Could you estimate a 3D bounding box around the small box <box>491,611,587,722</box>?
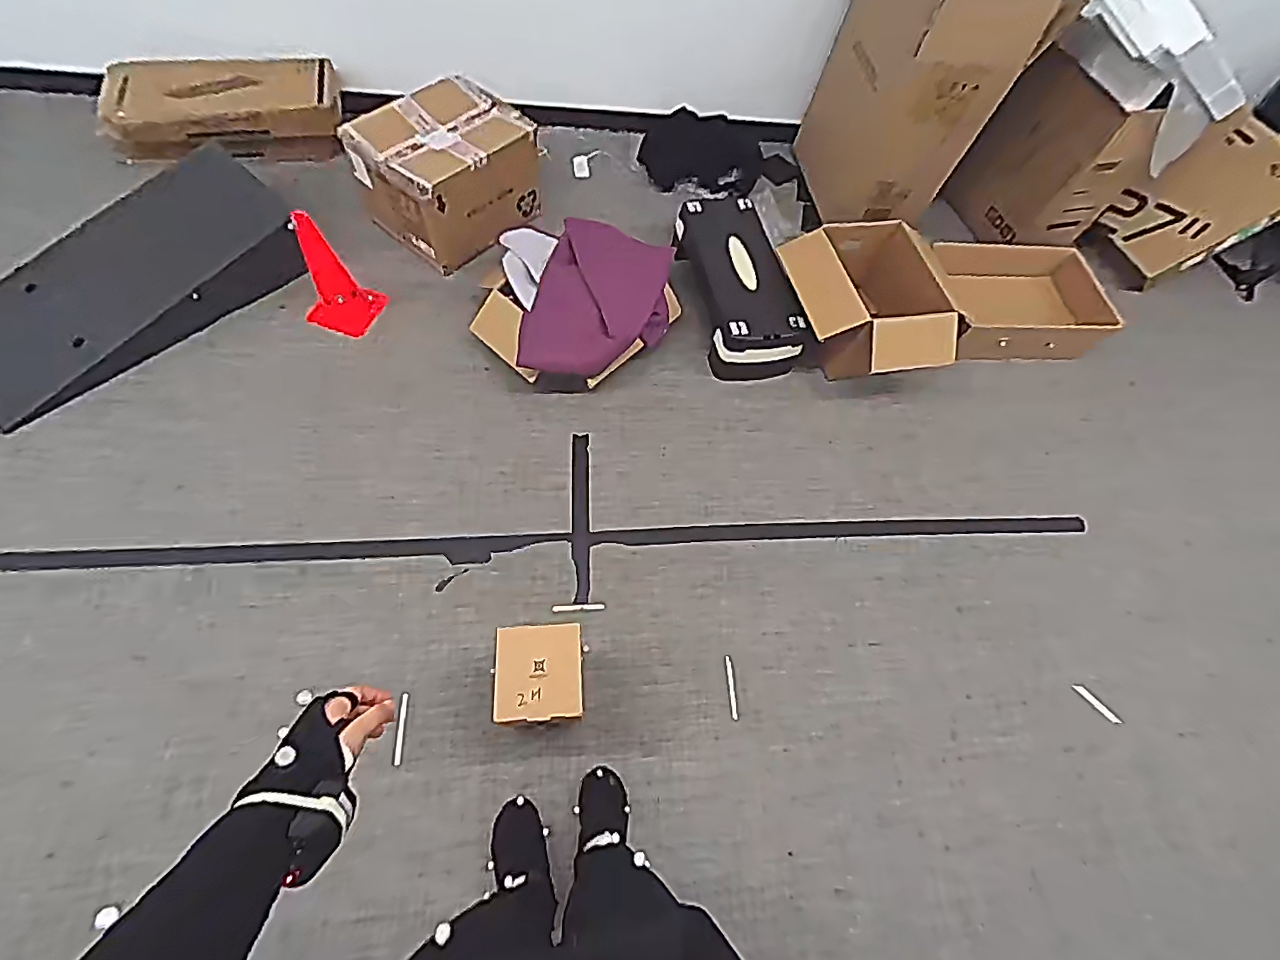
[{"bbox_3d":[-0.188,0.359,1.035,0.168,0.176,0.179,-2,64,-7],"label":"small box"}]
